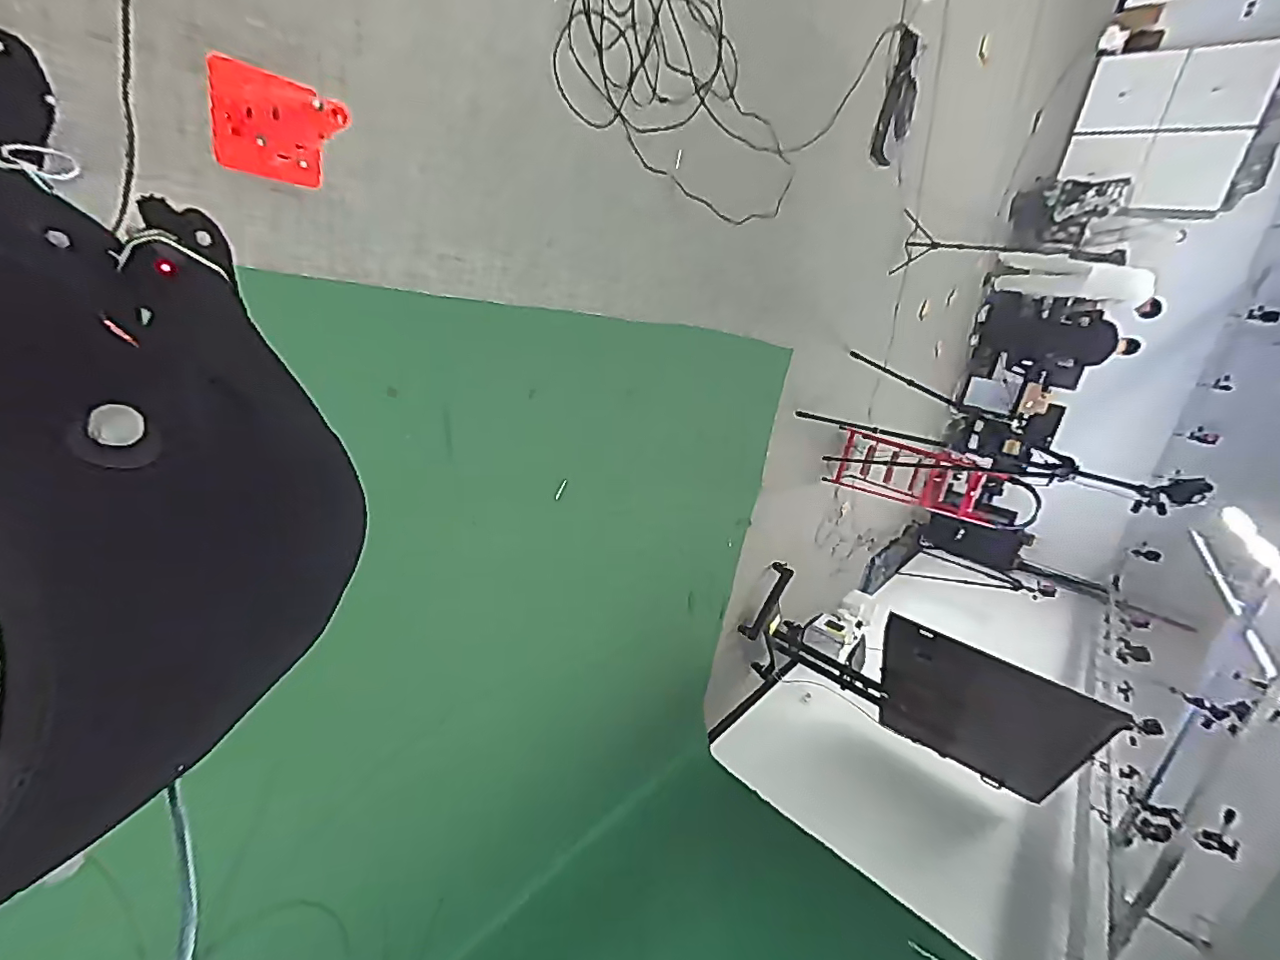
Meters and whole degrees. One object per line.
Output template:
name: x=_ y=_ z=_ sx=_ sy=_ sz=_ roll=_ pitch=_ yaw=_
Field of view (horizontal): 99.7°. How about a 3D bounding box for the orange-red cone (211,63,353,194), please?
orange-red cone: x=-0.653 y=-0.682 z=1.044 sx=0.198 sy=0.360 sz=0.199 roll=-12 pitch=116 yaw=-49
